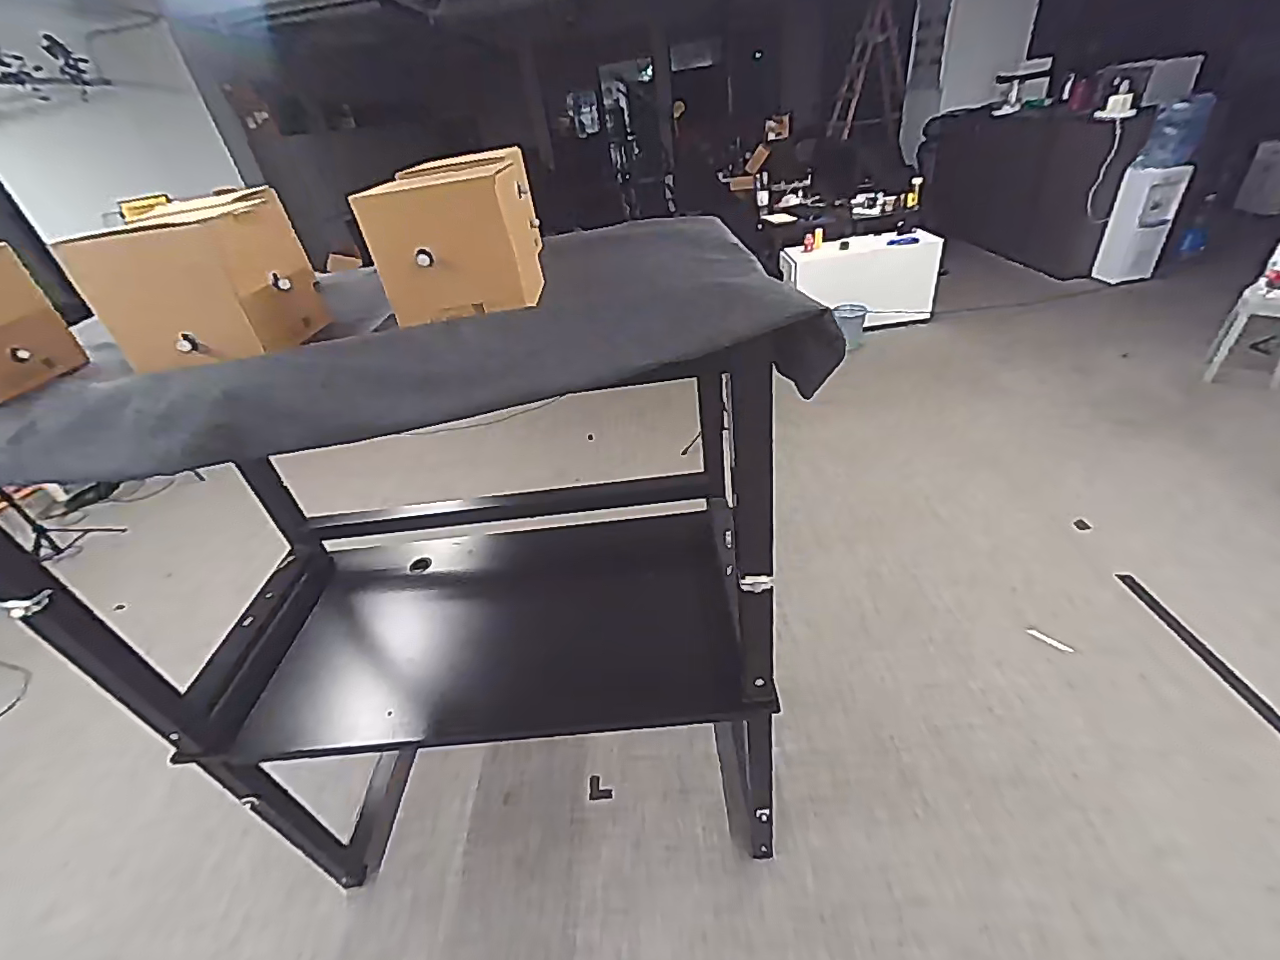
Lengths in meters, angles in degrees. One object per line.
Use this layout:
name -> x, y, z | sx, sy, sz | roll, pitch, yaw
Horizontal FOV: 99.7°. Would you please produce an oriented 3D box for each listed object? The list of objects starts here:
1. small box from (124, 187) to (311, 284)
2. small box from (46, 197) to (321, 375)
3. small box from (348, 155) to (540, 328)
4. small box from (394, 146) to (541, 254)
small box -> -0.713, -0.397, 0.943 | 0.168, 0.176, 0.179 | -12, 35, -2
small box -> -0.553, -0.248, 0.693 | 0.179, 0.176, 0.168 | -7, 33, 2
small box -> -0.234, -0.306, 0.701 | 0.168, 0.176, 0.179 | -9, 34, 2
small box -> -0.285, -0.465, 0.937 | 0.179, 0.176, 0.168 | -7, 36, 3
